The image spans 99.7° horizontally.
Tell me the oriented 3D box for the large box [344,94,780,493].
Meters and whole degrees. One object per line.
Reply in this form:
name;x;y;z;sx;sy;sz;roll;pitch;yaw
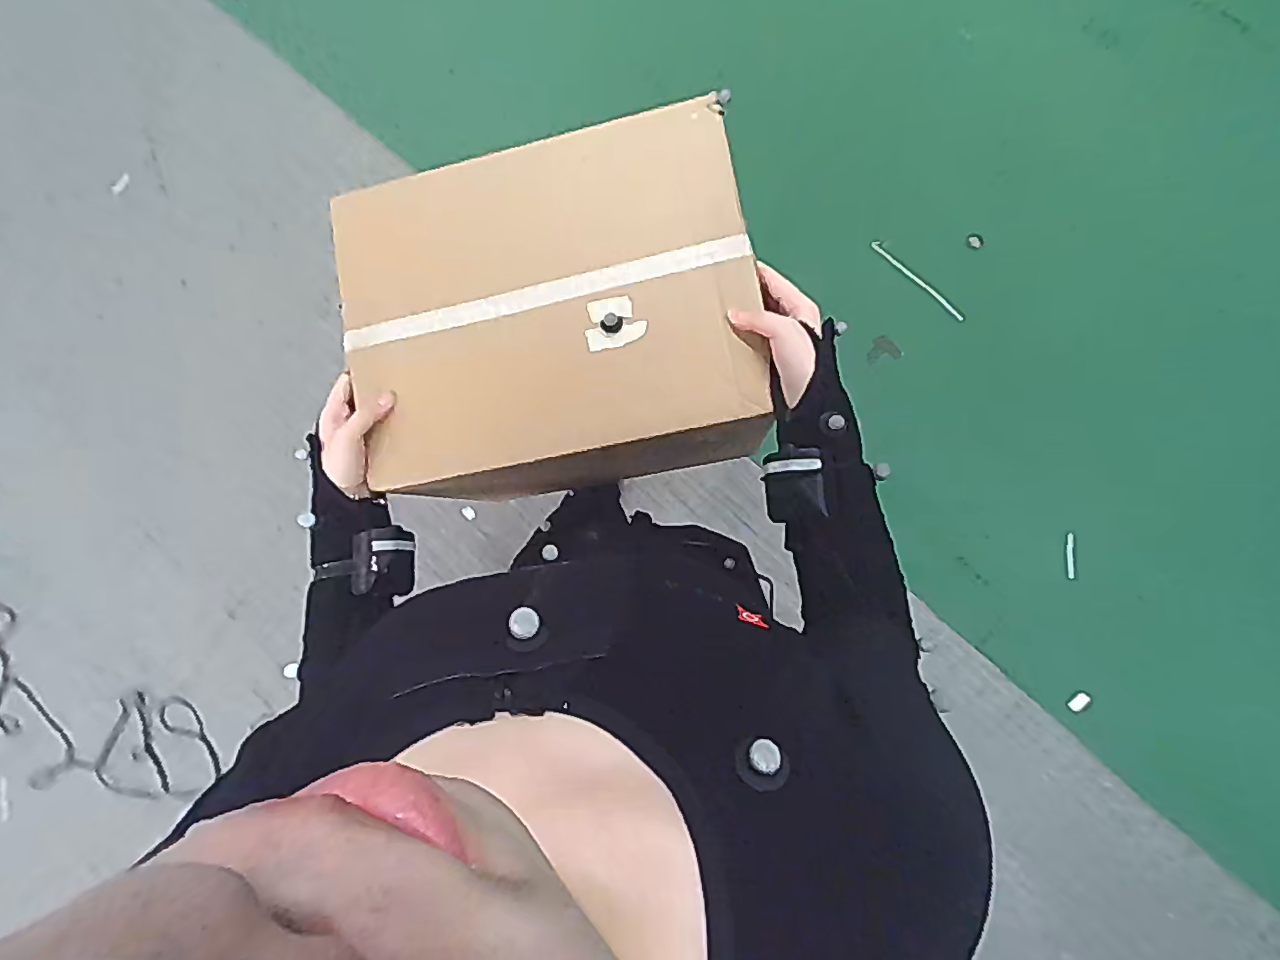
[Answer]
large box;-0.075;-0.177;0.675;0.408;0.320;0.320;-10;85;5

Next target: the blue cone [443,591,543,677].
blue cone;-0.400;0.420;1.341;0.192;0.380;0.193;-40;86;1
